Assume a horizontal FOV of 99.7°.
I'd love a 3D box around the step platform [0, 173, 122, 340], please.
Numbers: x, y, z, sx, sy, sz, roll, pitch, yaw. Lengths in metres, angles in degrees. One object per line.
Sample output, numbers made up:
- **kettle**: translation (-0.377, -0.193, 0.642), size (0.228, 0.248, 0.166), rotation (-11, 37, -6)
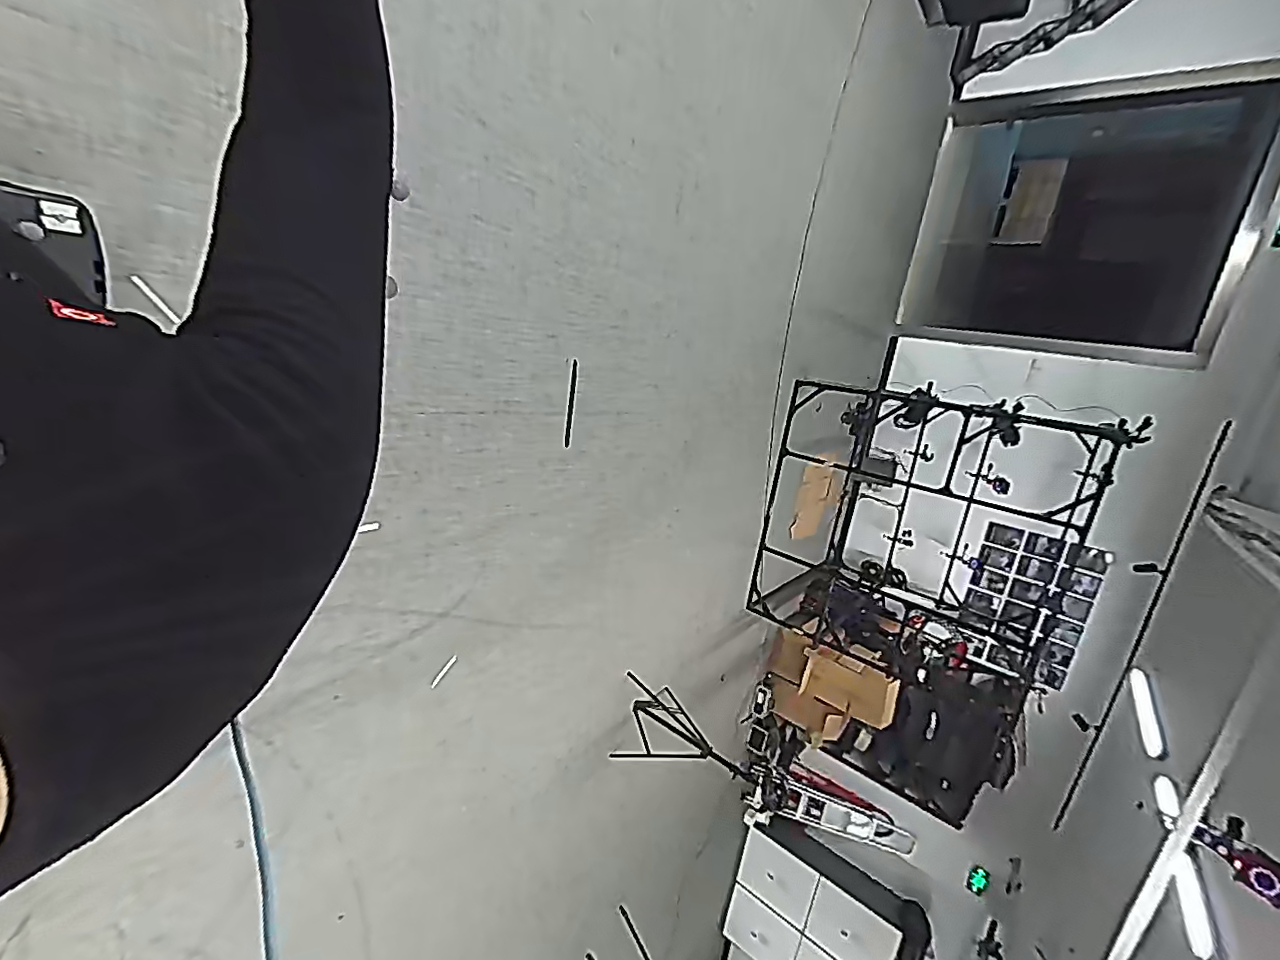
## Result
- **step platform**: translation (-1.299, -0.398, 0.862), size (0.684, 0.204, 0.286), rotation (-11, 115, -52)
